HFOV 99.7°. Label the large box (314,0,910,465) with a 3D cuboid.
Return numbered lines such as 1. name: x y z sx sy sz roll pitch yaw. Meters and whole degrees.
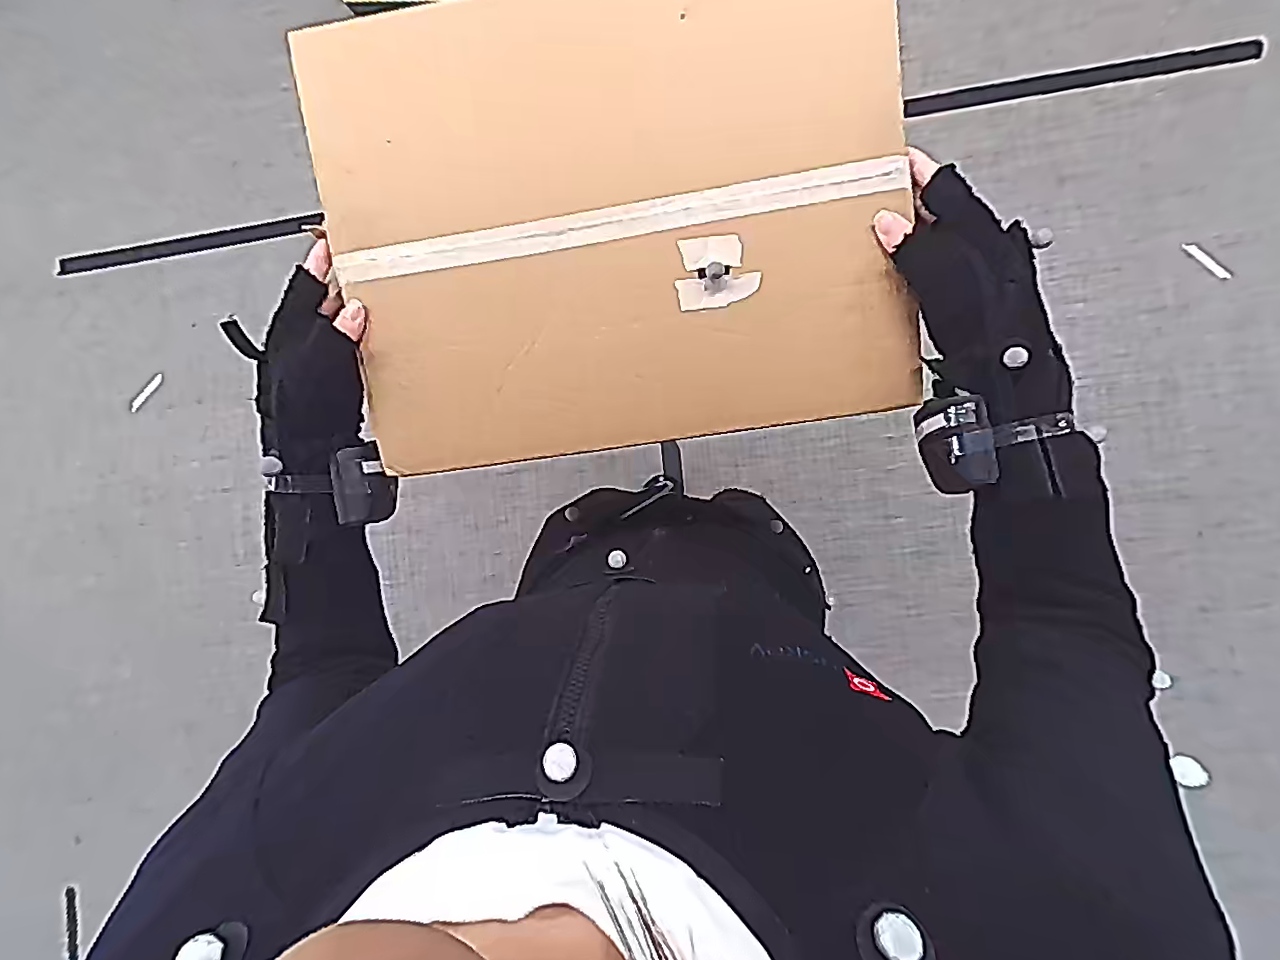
1. large box: -0.012 -0.212 0.541 0.408 0.320 0.320 -8 99 3
